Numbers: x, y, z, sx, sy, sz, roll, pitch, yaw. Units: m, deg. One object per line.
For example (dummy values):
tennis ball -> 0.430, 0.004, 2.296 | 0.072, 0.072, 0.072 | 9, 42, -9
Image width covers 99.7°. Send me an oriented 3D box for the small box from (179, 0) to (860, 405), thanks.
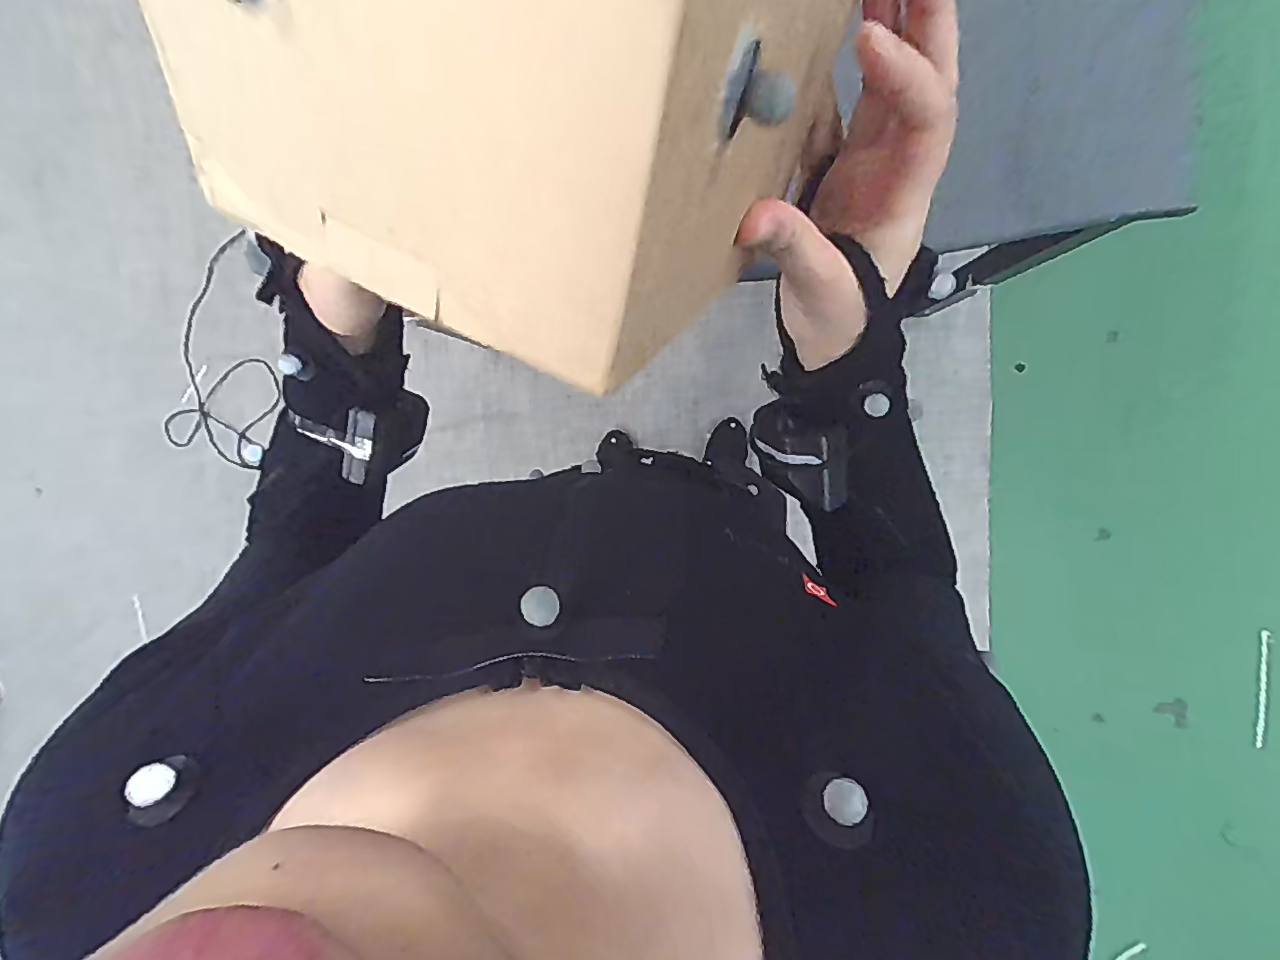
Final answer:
small box -> -0.028, -0.161, 0.178 | 0.168, 0.179, 0.176 | 28, 137, 12
